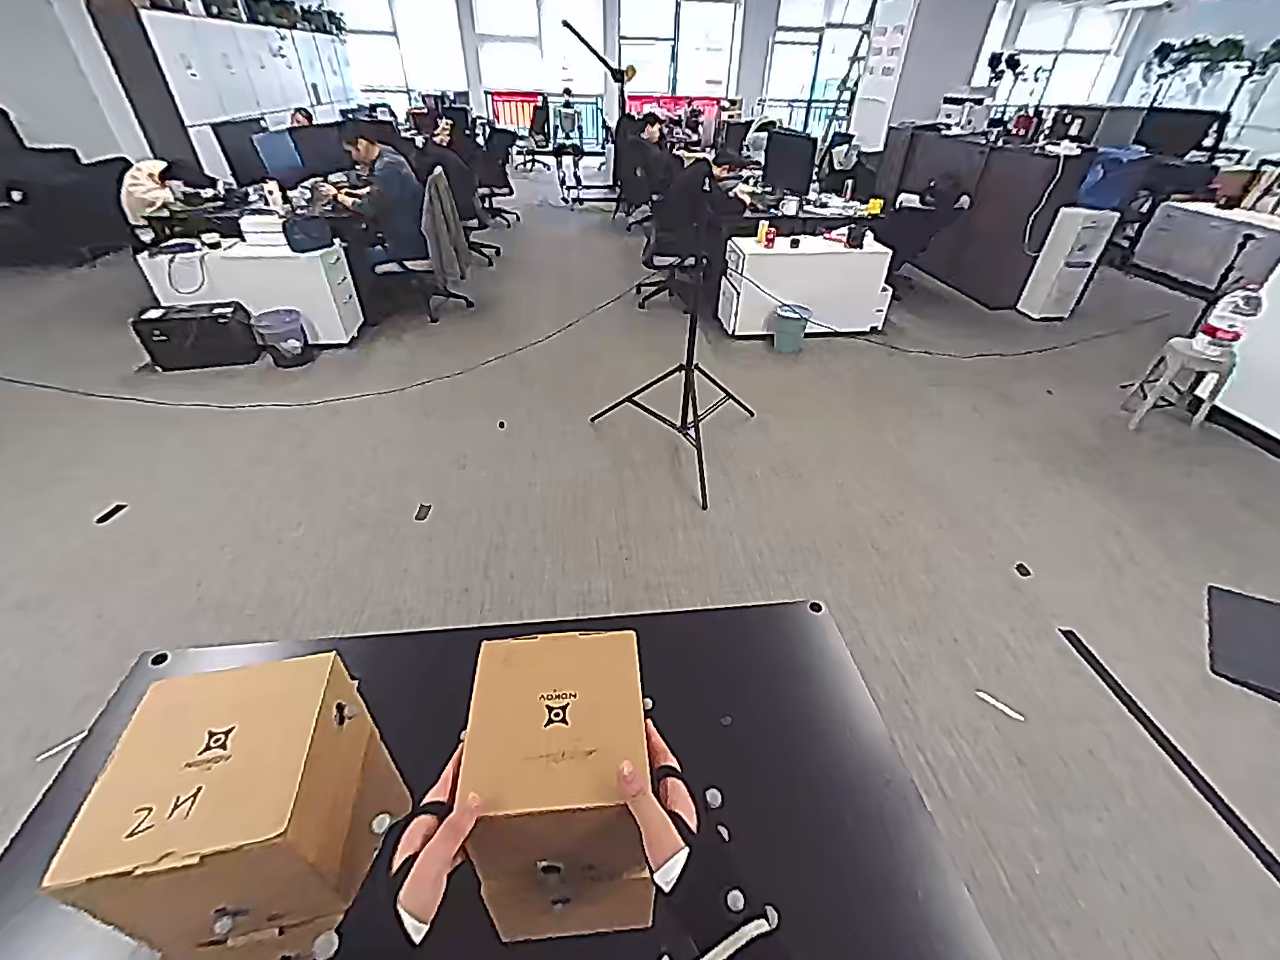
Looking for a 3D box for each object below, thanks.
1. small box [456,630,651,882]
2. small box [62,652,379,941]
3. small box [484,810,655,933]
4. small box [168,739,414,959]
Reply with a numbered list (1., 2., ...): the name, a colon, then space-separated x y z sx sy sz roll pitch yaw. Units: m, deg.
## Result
1. small box: -0.080 0.283 0.565 0.168 0.176 0.179 -3 37 -4
2. small box: -0.371 0.302 0.528 0.168 0.176 0.179 -7 38 -10
3. small box: -0.077 0.418 0.655 0.179 0.176 0.168 -2 37 -5
4. small box: -0.373 0.437 0.624 0.168 0.176 0.179 -6 38 -9
